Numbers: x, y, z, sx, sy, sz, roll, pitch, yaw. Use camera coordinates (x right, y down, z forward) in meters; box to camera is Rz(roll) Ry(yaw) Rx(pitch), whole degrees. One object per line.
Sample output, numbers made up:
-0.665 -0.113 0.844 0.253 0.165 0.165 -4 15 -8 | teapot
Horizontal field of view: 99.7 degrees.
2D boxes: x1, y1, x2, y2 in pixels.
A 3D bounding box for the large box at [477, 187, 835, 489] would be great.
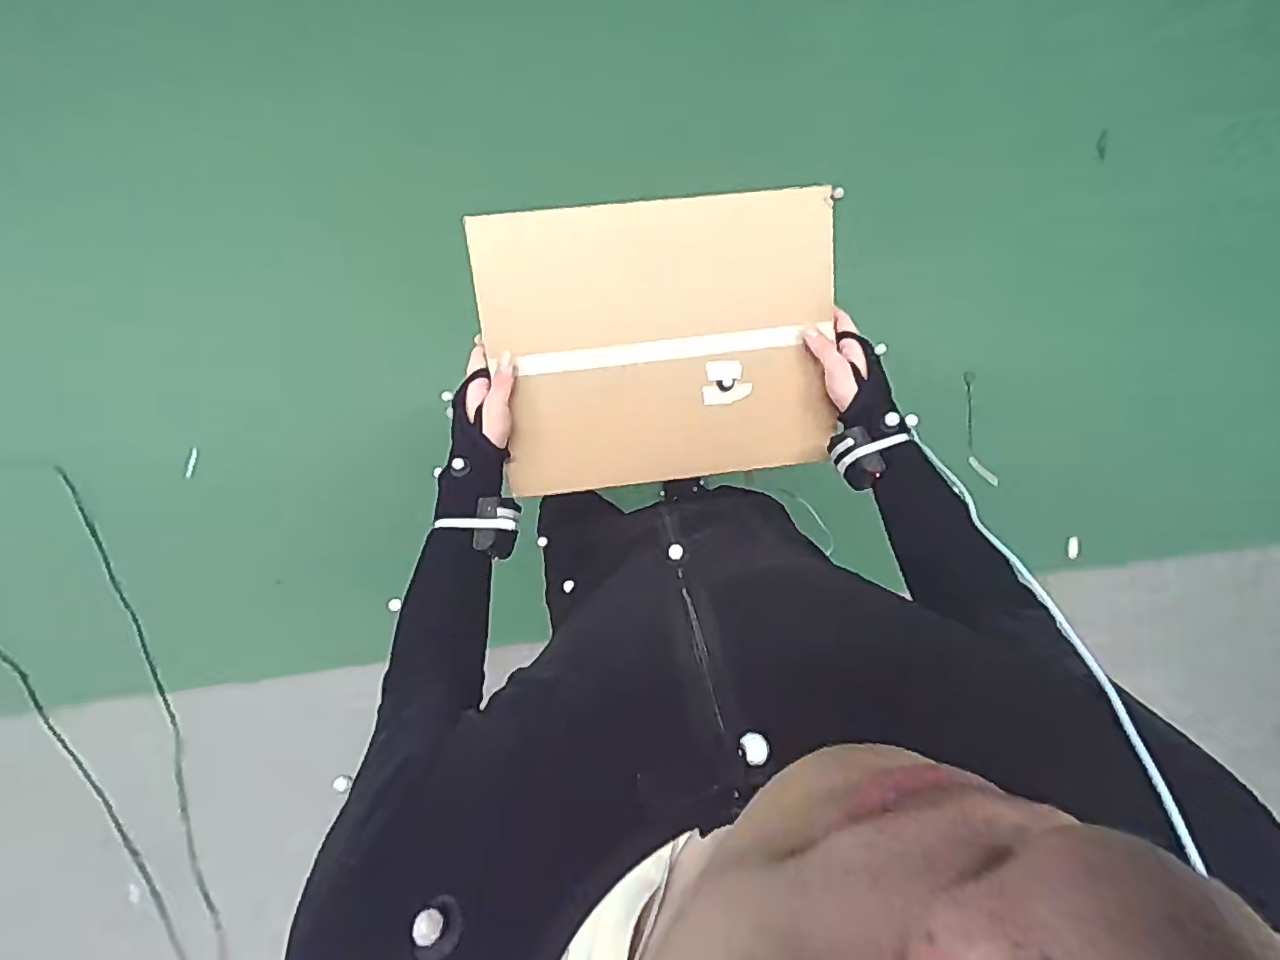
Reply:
0.017 -0.192 0.776 0.408 0.320 0.320 -6 104 -5 | large box
